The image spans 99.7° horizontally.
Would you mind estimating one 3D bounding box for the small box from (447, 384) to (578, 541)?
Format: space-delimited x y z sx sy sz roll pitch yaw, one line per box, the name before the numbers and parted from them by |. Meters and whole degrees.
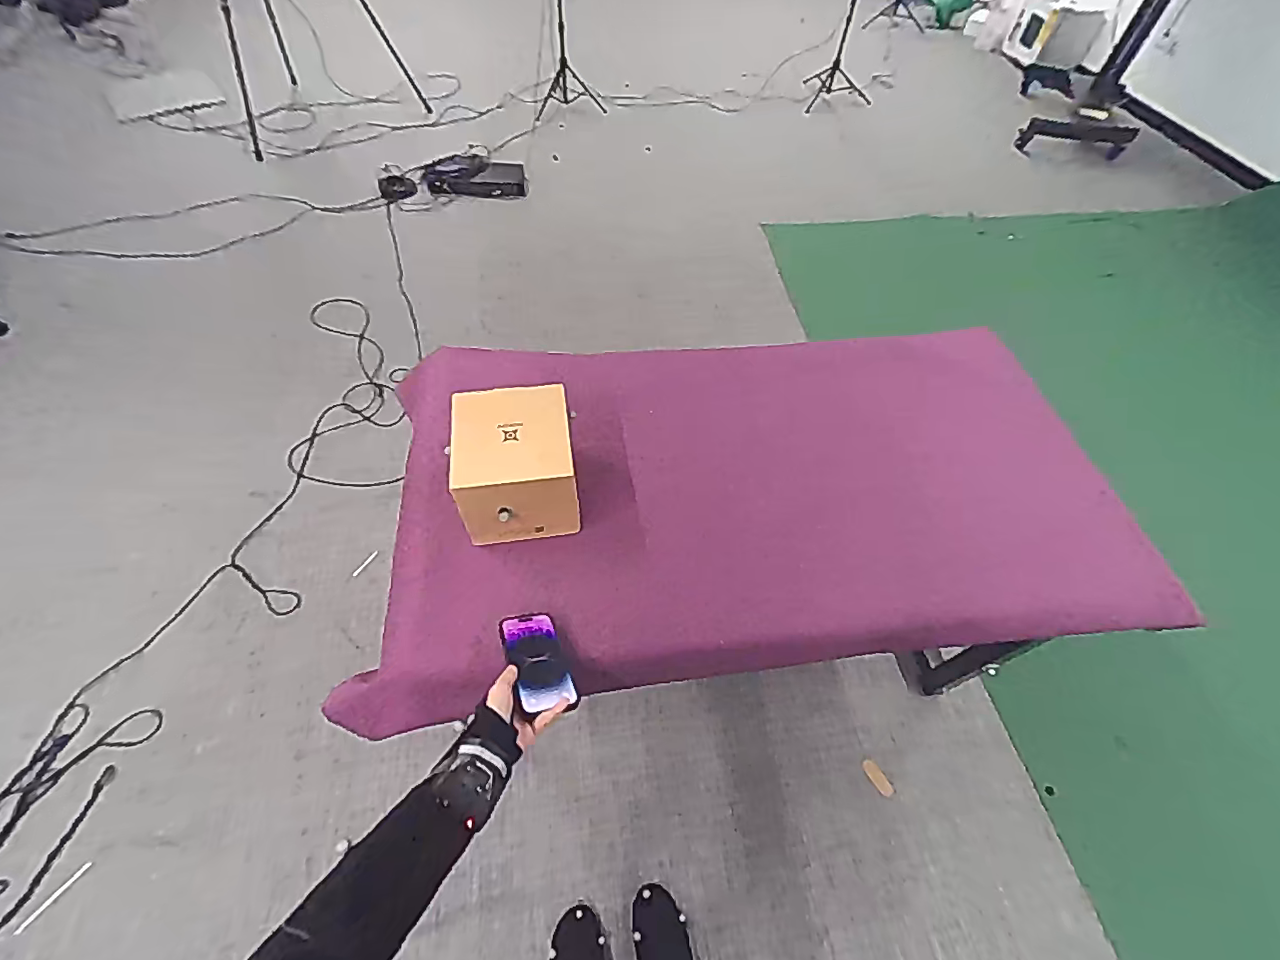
small box | -0.188 -0.019 0.826 0.168 0.176 0.179 -7 55 -8
